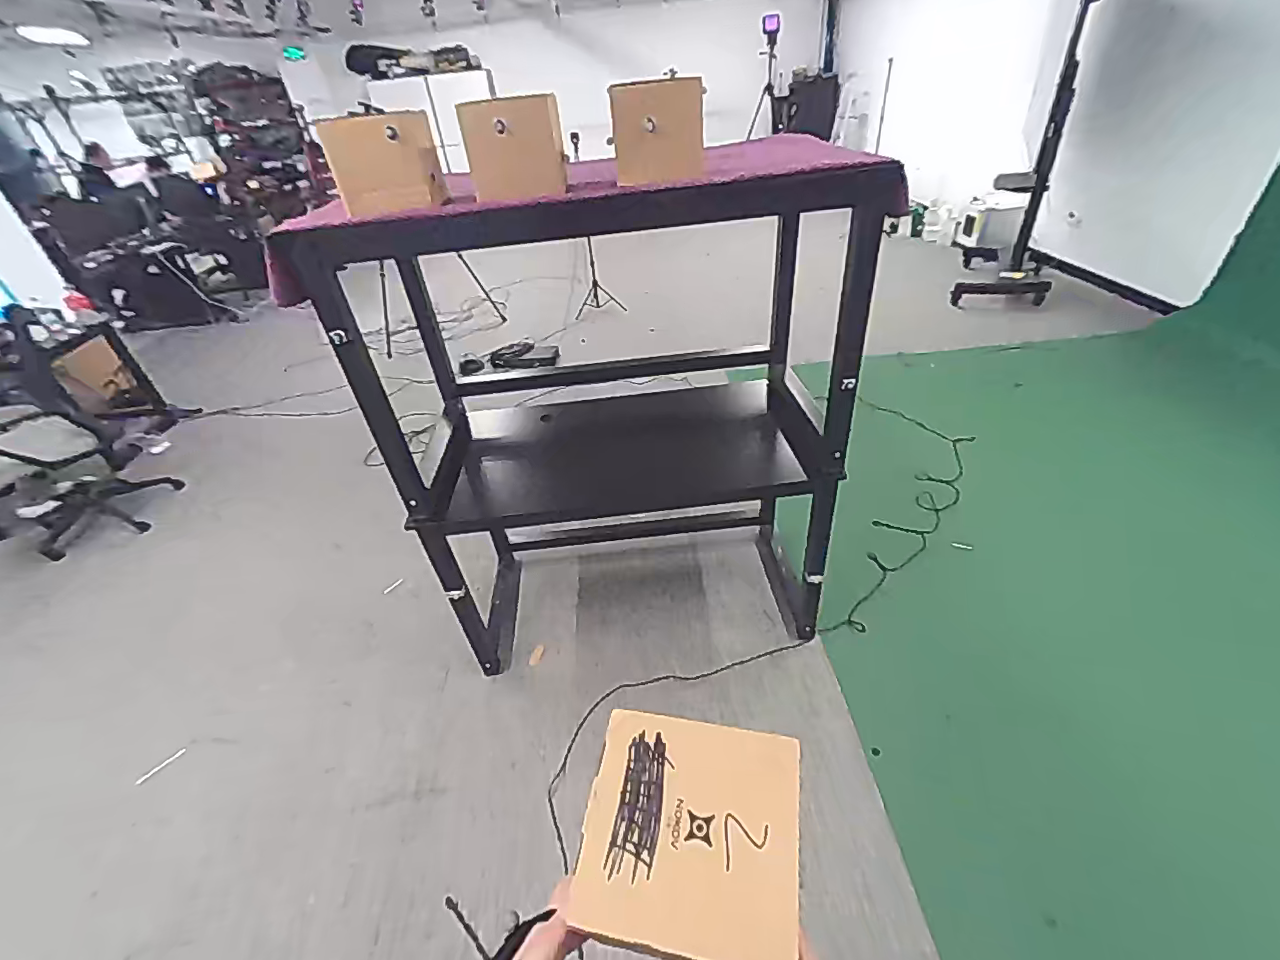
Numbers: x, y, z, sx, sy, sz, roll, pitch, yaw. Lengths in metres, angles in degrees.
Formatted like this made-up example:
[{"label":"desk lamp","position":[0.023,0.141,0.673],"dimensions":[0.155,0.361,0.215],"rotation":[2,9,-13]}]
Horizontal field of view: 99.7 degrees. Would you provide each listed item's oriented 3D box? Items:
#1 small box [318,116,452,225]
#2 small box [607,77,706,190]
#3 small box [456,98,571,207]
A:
[{"label":"small box","position":[-0.507,-0.632,1.104],"dimensions":[0.179,0.176,0.168],"rotation":[-8,36,-2]},{"label":"small box","position":[0.035,-0.700,1.097],"dimensions":[0.179,0.176,0.168],"rotation":[-6,37,4]},{"label":"small box","position":[-0.247,-0.667,1.103],"dimensions":[0.179,0.176,0.168],"rotation":[-5,36,2]}]
